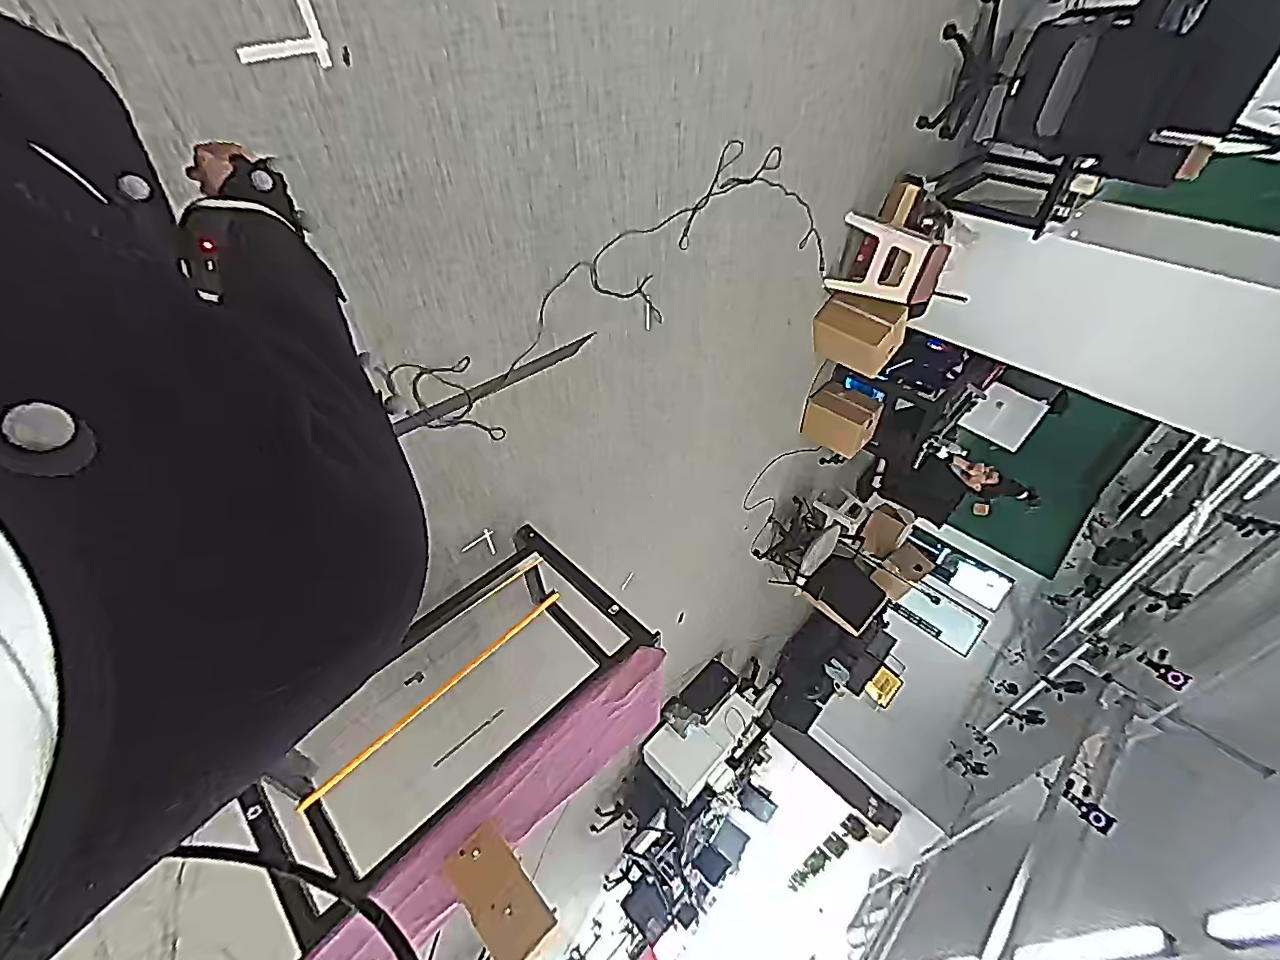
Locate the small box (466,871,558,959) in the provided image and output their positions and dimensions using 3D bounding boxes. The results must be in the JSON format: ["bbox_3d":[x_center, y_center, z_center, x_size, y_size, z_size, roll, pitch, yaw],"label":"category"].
[{"bbox_3d":[-0.344,1.208,1.464,0.168,0.176,0.179,-35,144,-32],"label":"small box"}]

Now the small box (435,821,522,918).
[{"bbox_3d":[-0.458,1.125,1.550,0.168,0.176,0.179,-34,143,-32],"label":"small box"}]
